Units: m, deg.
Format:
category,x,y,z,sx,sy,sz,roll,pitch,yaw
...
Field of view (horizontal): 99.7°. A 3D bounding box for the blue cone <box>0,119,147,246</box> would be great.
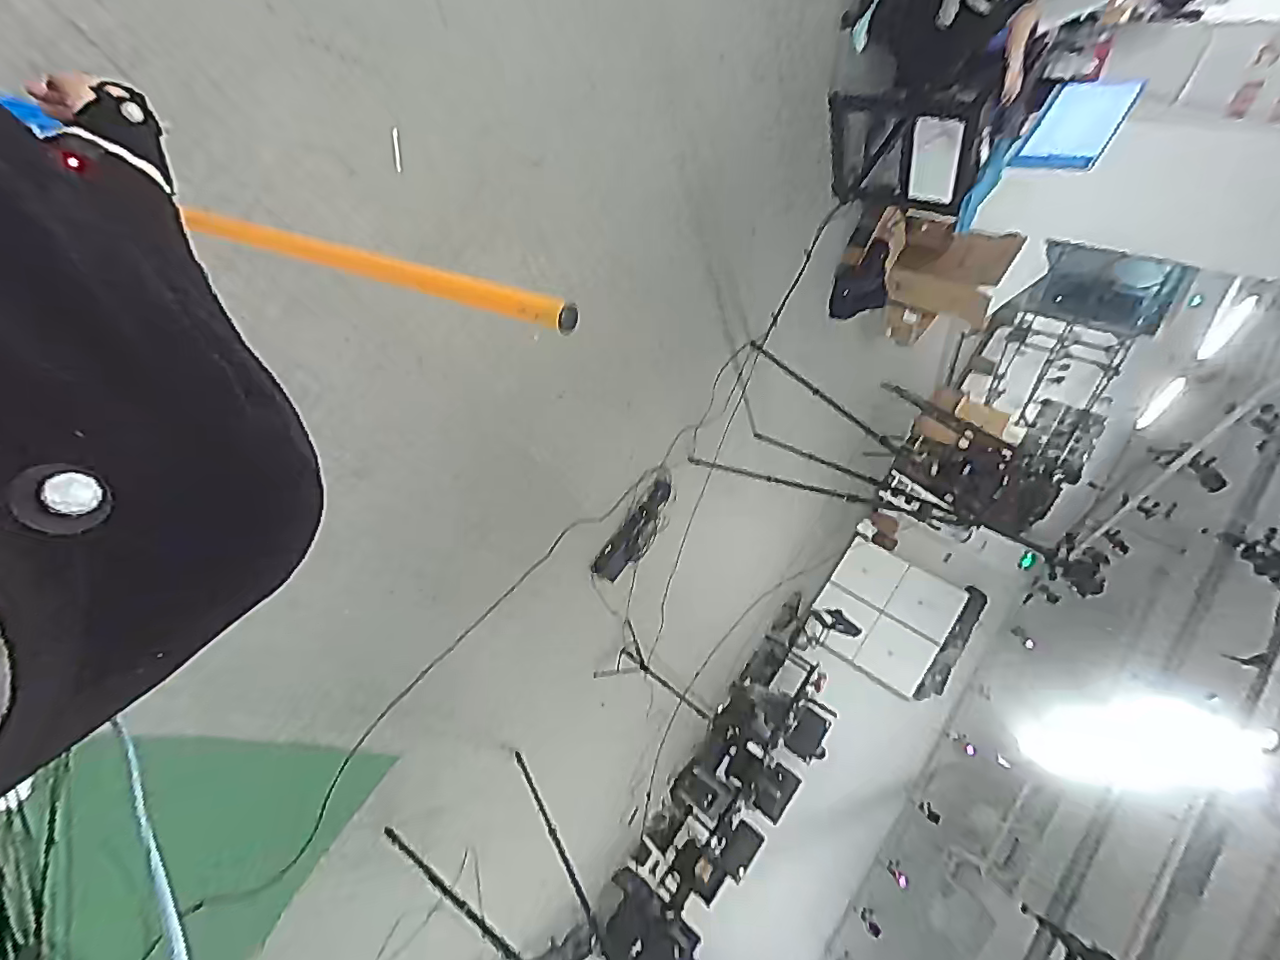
category,x,y,z,sx,sy,sz,roll,pitch,yaw
blue cone,-0.896,-0.456,0.885,0.193,0.380,0.192,-23,132,-48
